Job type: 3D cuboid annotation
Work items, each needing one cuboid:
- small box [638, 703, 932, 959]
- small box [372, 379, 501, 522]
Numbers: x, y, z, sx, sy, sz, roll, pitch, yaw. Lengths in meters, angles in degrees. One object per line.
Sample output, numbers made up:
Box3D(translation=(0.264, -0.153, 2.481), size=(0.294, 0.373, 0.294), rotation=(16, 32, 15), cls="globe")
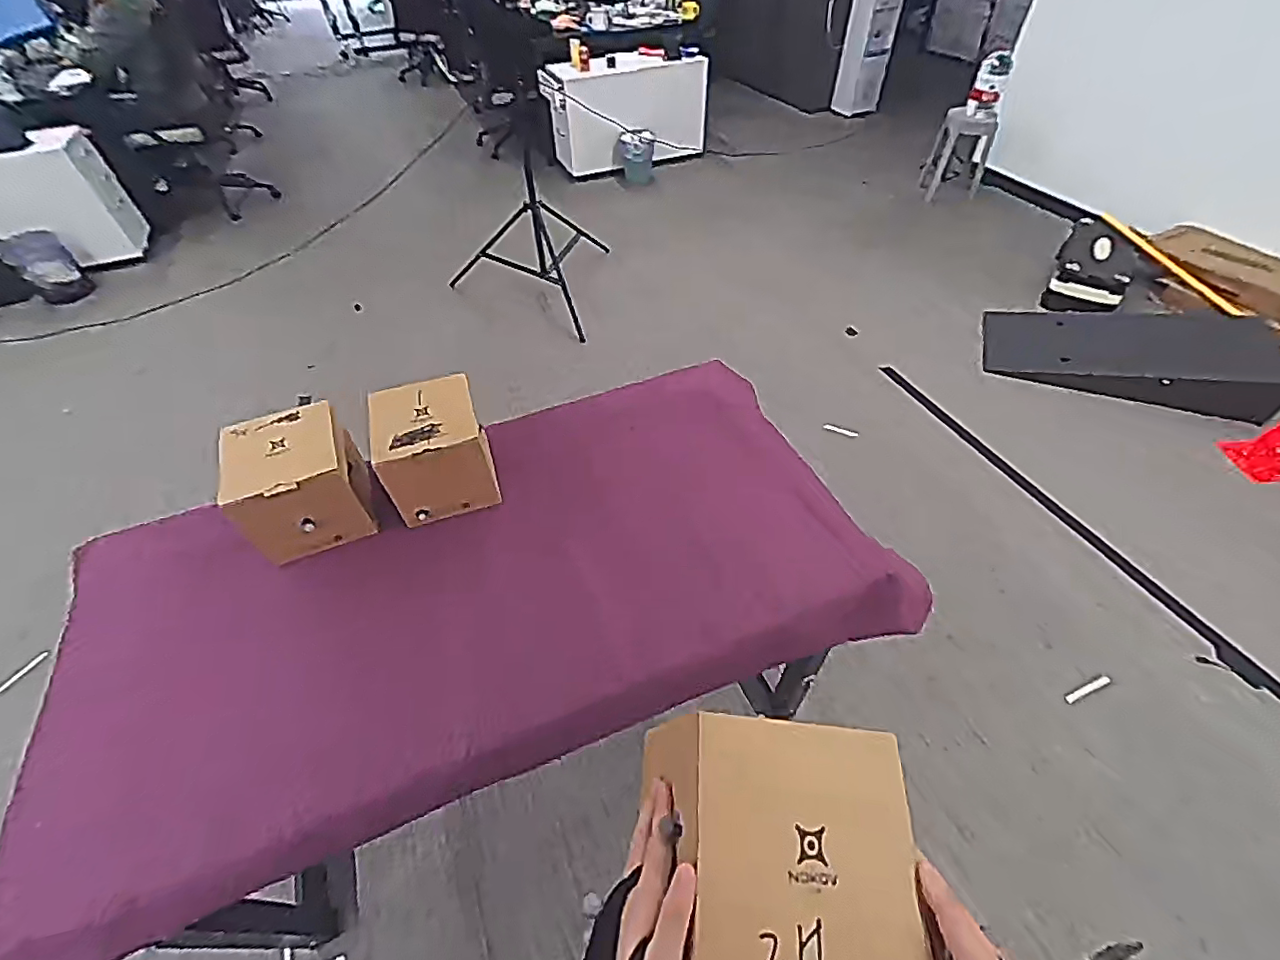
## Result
Box3D(translation=(0.098, 0.296, 0.439), size=(0.168, 0.176, 0.179), rotation=(10, 57, -9), cls="small box")
Box3D(translation=(-0.351, -0.045, 0.946), size=(0.168, 0.176, 0.179), rotation=(-15, 51, -12), cls="small box")
